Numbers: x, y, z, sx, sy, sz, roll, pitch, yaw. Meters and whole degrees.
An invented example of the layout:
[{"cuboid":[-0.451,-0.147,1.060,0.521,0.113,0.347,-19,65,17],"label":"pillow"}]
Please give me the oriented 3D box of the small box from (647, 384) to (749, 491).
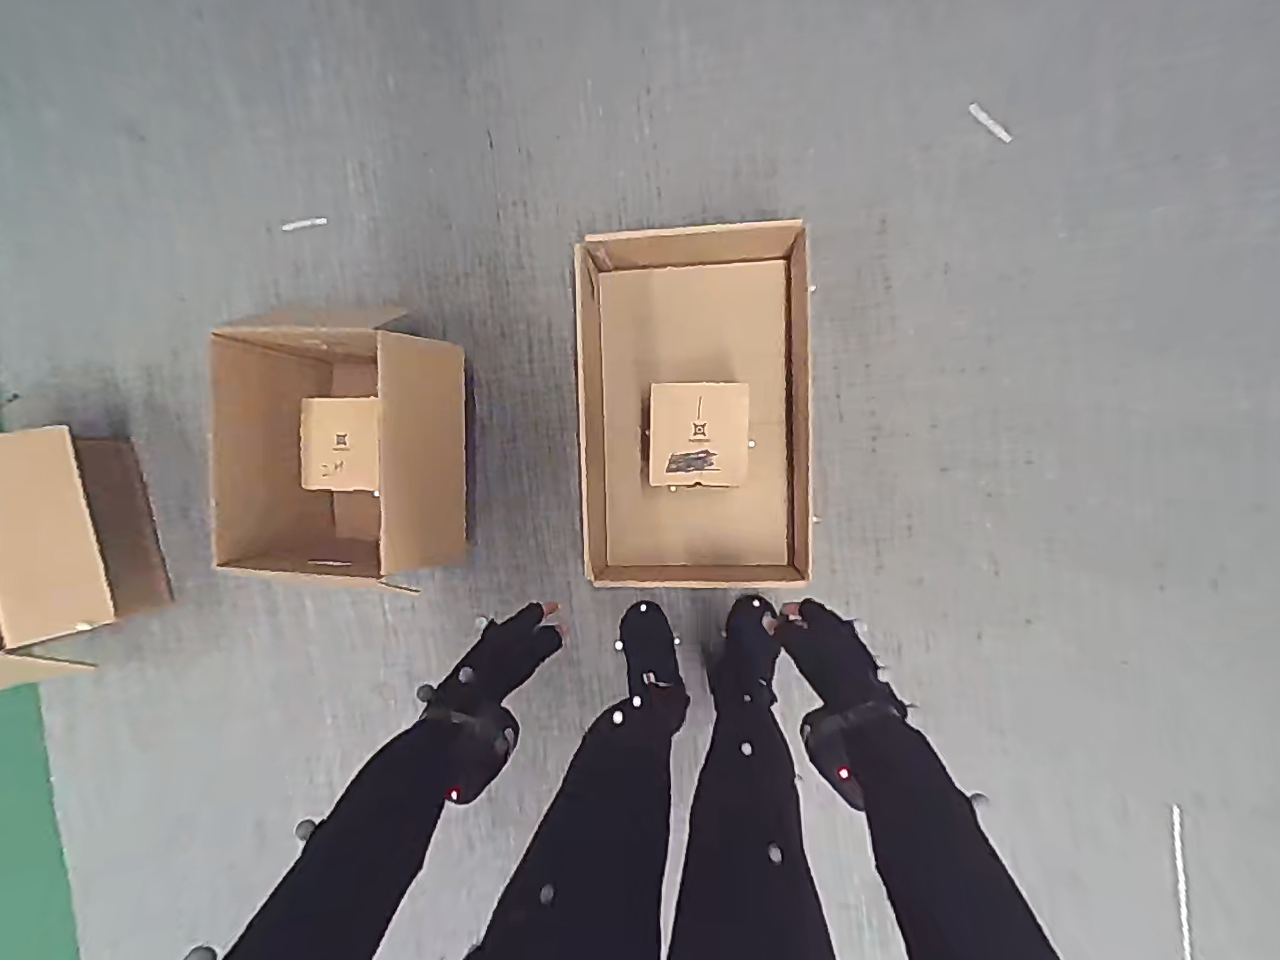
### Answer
[{"cuboid":[0.107,-0.073,0.978,0.168,0.176,0.179,1,91,7],"label":"small box"}]
